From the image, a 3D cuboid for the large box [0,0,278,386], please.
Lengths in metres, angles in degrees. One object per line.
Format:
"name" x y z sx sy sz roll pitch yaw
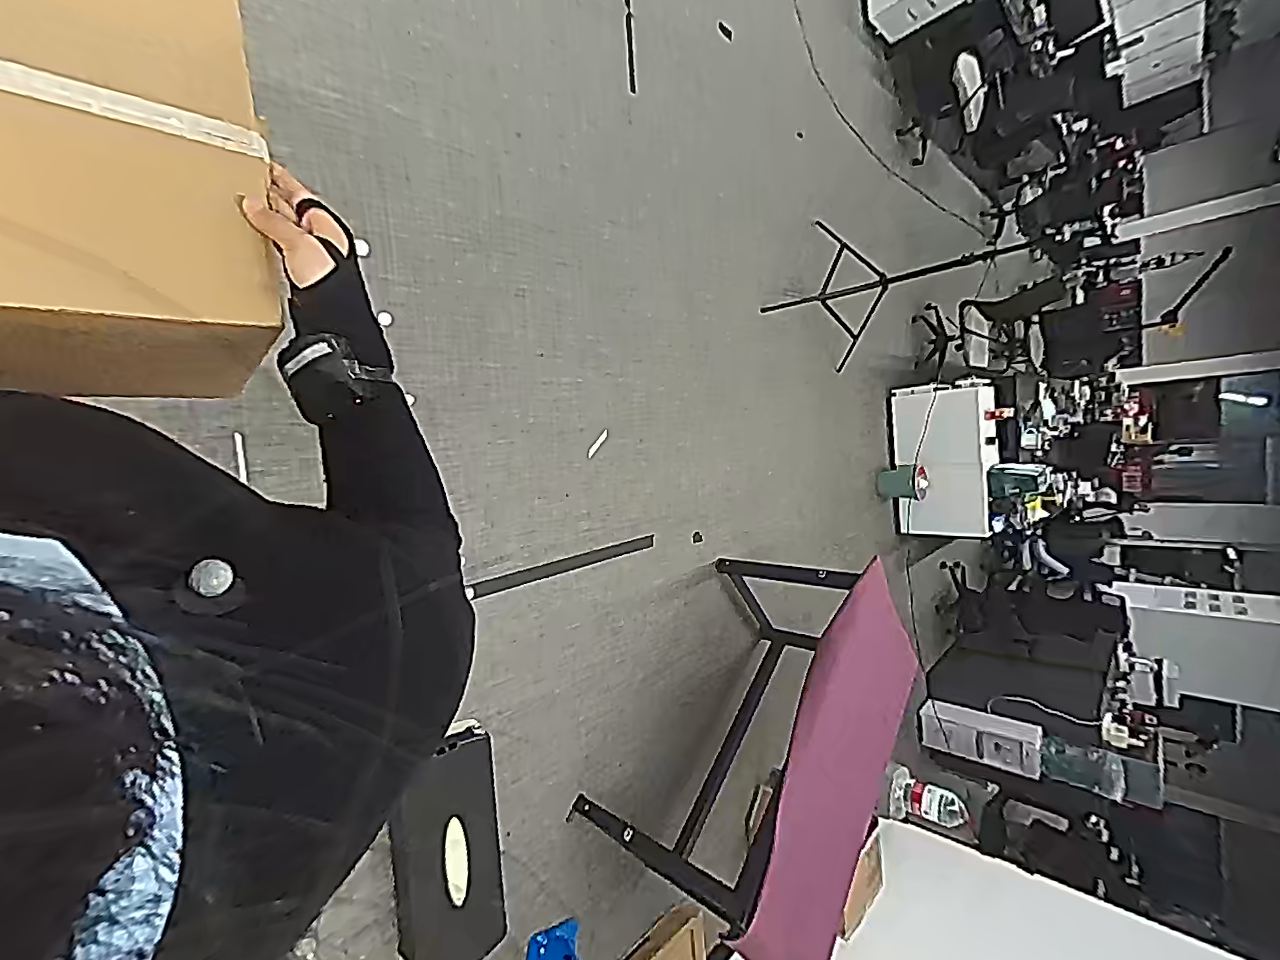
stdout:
"large box" -0.586 -0.258 0.450 0.408 0.320 0.320 -9 90 -43
